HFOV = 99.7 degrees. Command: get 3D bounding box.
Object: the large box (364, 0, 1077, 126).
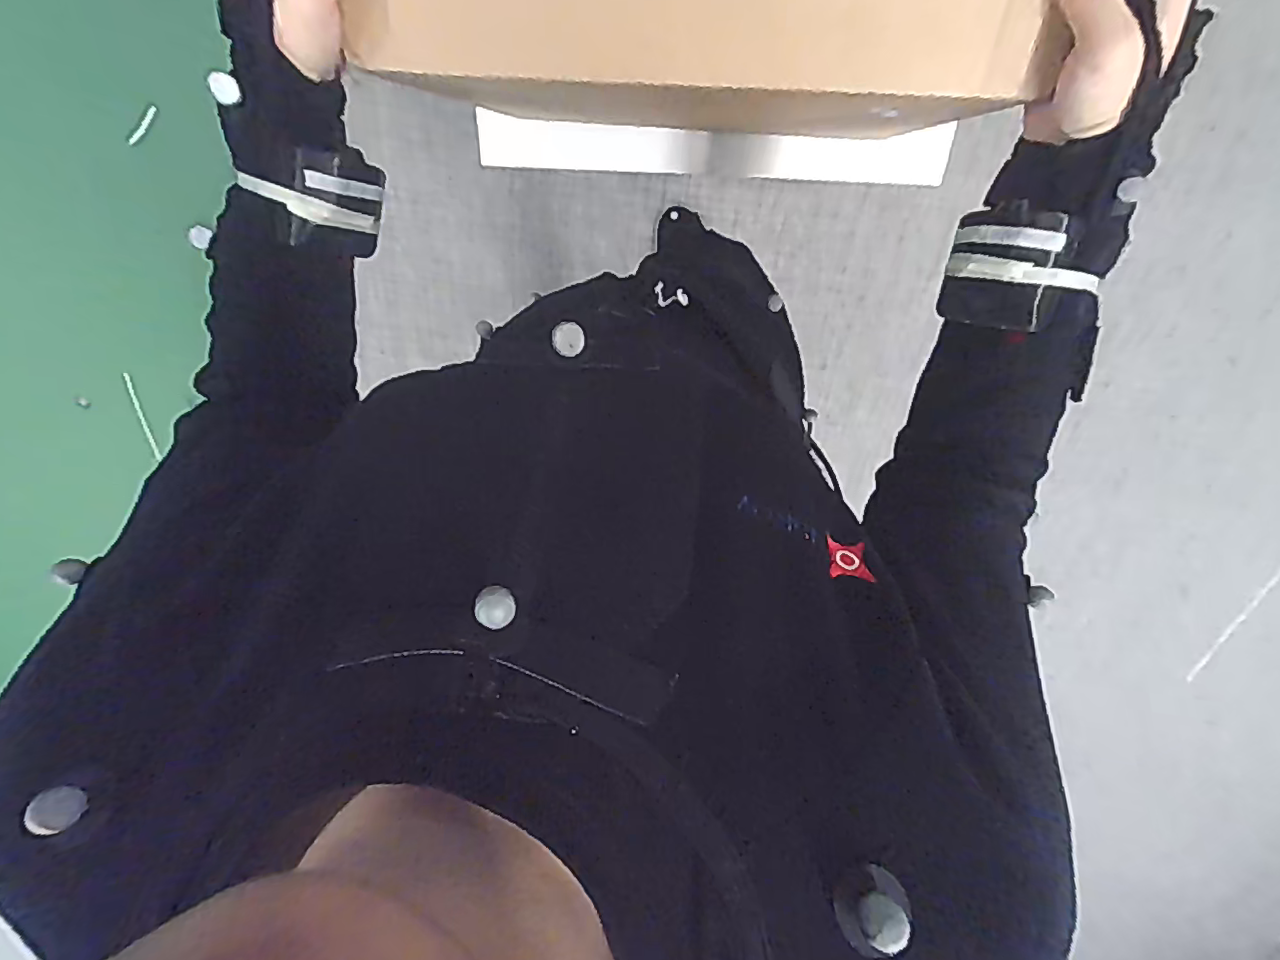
[{"bbox_3d":[0.052,-0.445,0.372,0.408,0.320,0.320,5,120,3],"label":"large box"}]
